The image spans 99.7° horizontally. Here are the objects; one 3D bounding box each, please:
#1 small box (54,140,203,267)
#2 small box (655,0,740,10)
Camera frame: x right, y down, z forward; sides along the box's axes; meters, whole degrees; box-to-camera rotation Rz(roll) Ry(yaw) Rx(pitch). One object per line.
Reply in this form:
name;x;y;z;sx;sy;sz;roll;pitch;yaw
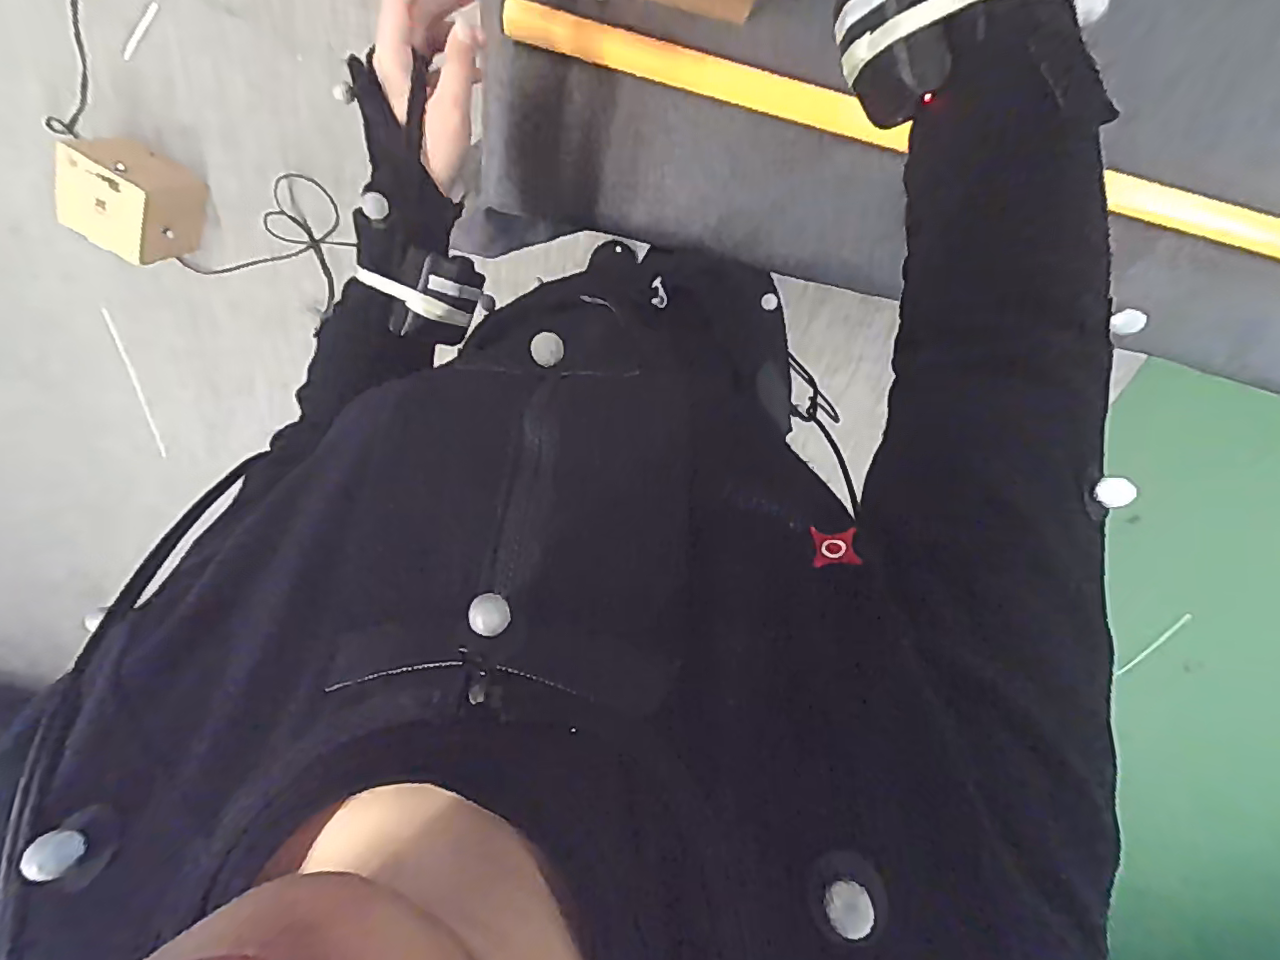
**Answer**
small box;-1.088;-0.595;1.161;0.168;0.176;0.179;31;122;-14
small box;0.003;-0.386;0.293;0.179;0.176;0.168;13;124;-2
